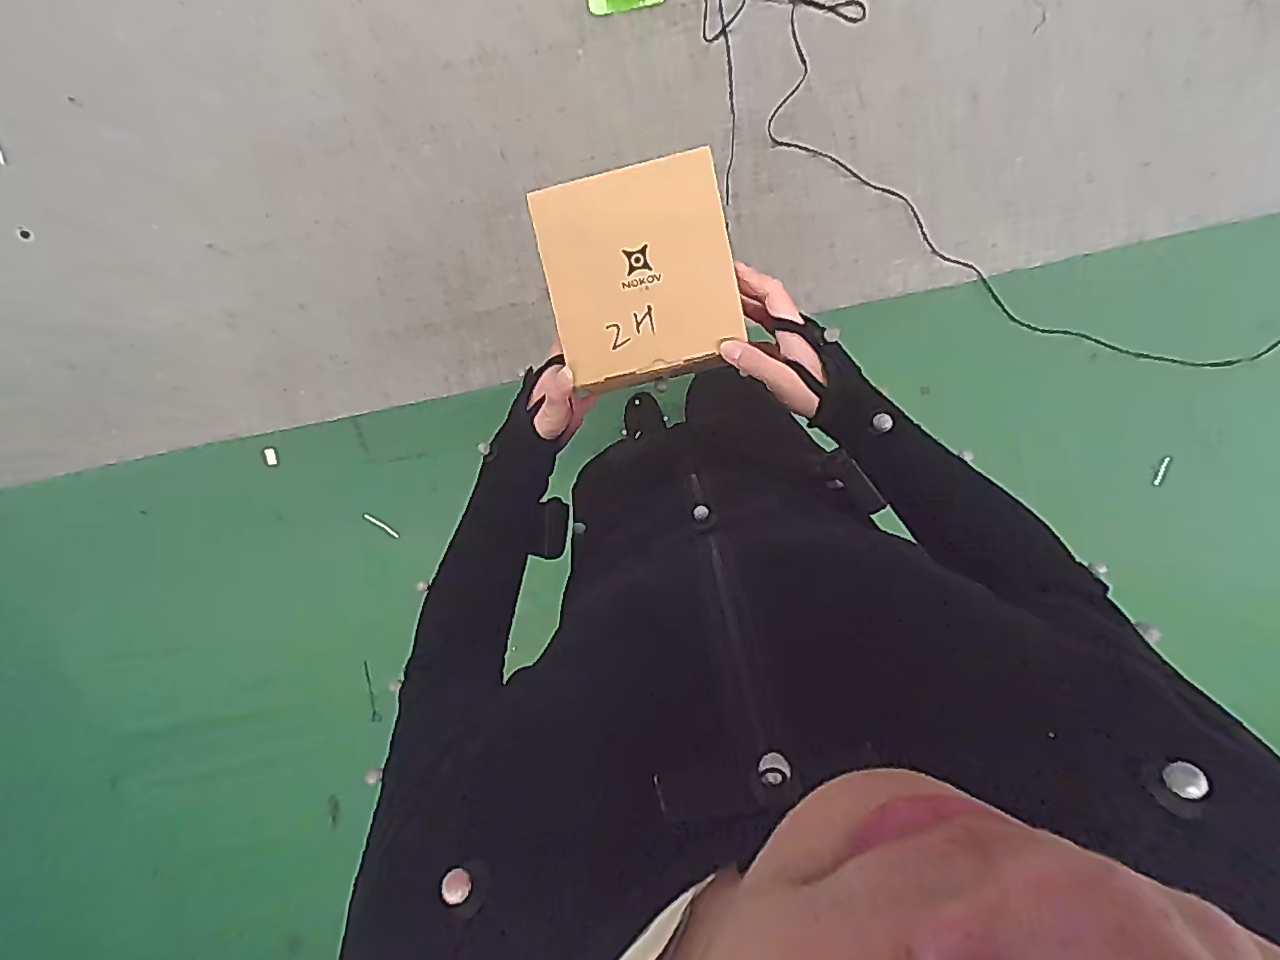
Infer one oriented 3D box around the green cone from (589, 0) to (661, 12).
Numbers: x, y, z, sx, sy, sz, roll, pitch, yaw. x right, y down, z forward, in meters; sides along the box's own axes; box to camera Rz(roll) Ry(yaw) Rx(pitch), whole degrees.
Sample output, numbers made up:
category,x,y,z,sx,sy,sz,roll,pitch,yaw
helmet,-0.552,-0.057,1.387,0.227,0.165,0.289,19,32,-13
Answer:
category,x,y,z,sx,sy,sz,roll,pitch,yaw
green cone,-0.037,-1.252,1.173,0.202,0.368,0.200,-11,101,0
